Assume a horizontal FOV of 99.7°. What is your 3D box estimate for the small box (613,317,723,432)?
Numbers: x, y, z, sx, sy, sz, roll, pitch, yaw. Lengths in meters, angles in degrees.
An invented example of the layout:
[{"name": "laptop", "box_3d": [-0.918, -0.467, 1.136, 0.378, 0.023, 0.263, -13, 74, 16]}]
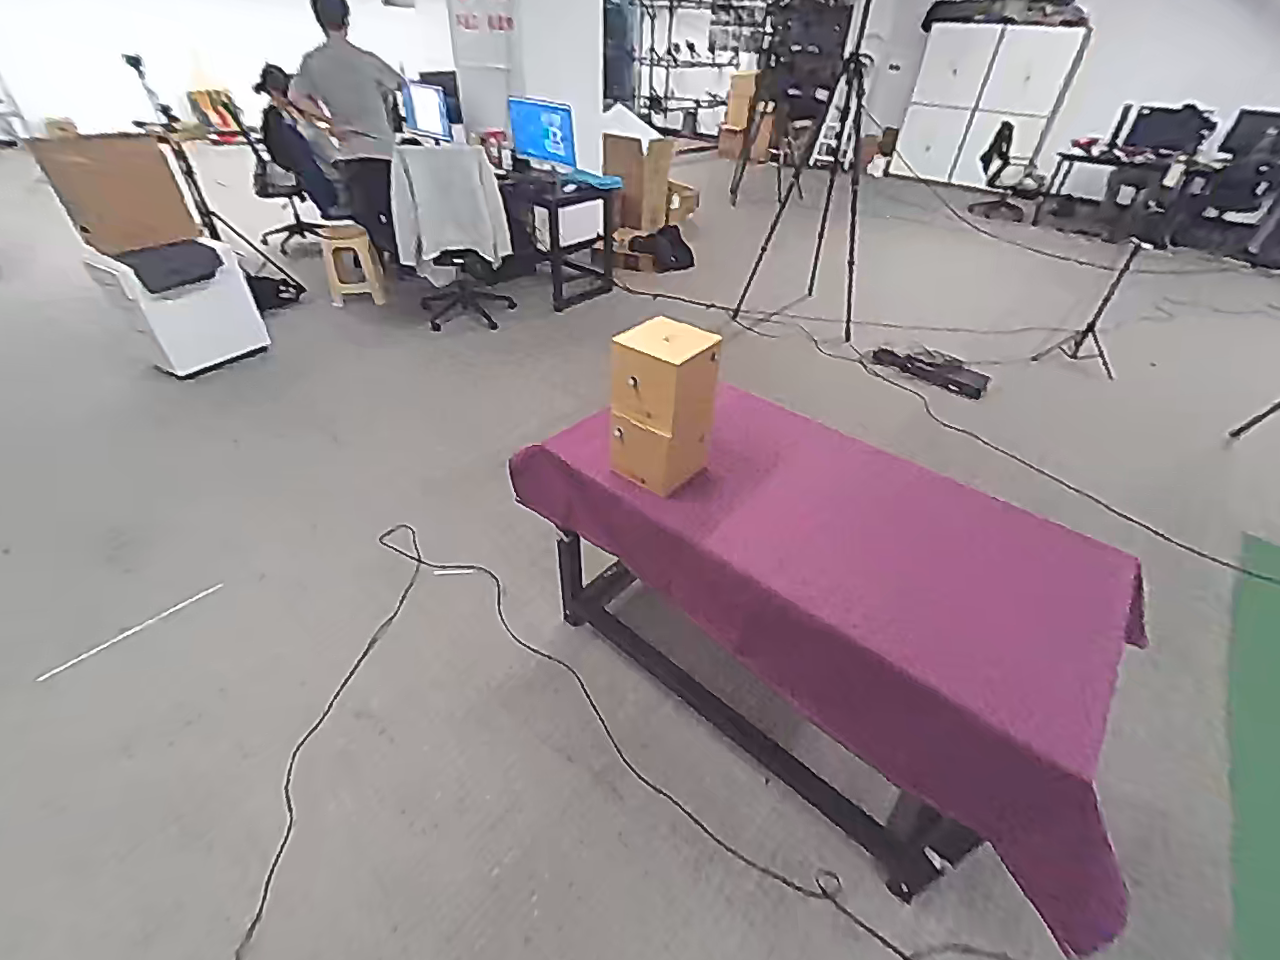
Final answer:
[{"name": "small box", "box_3d": [0.059, -0.226, 1.162, 0.168, 0.176, 0.179, 27, 44, 27]}]
